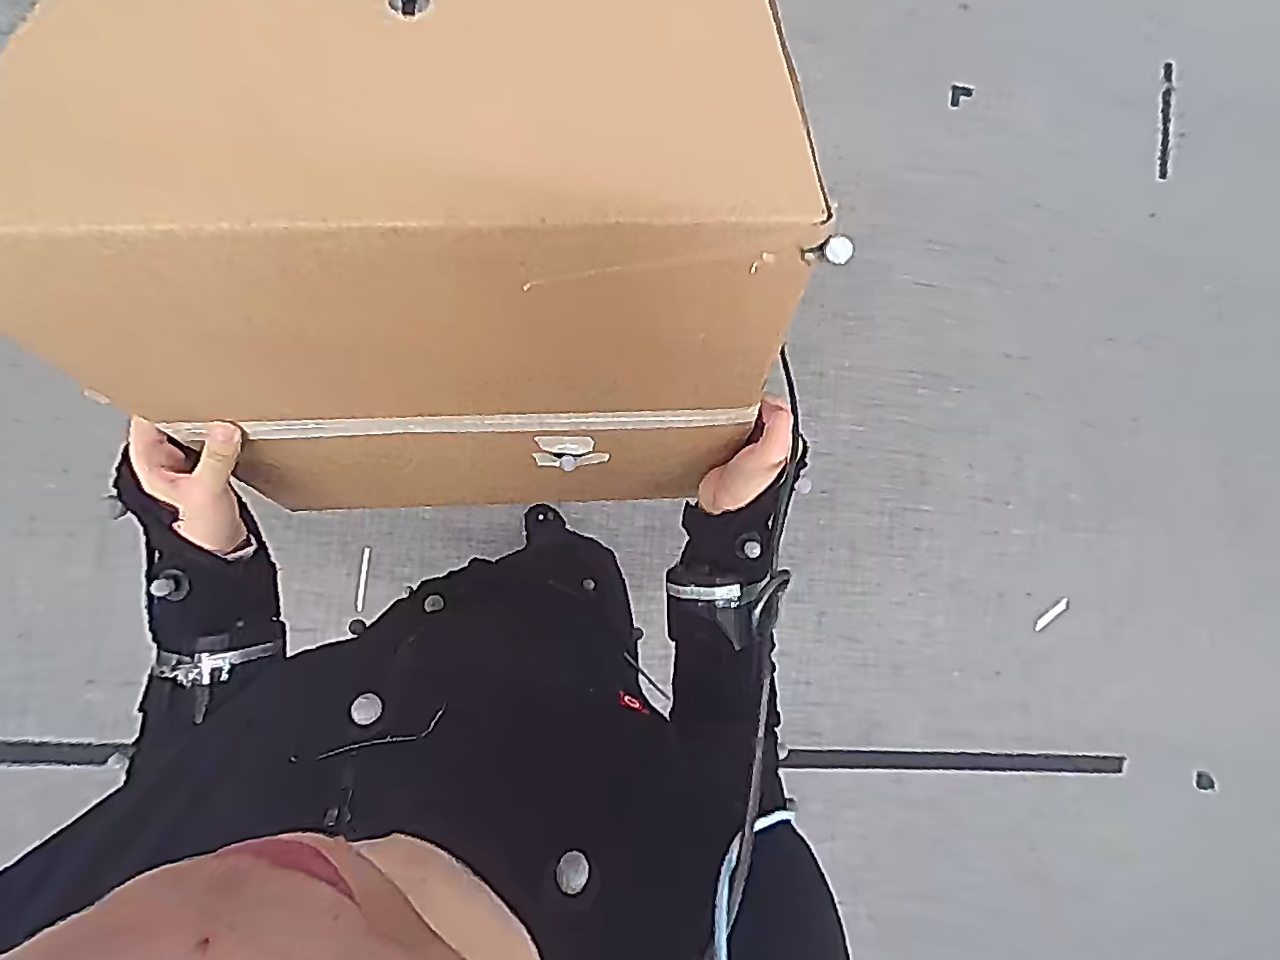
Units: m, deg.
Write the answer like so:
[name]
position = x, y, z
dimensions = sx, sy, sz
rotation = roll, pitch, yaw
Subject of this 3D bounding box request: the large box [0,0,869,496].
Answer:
[large box]
position = -0.113, -0.194, 0.415
dimensions = 0.408, 0.320, 0.320
rotation = -2, 66, -2
